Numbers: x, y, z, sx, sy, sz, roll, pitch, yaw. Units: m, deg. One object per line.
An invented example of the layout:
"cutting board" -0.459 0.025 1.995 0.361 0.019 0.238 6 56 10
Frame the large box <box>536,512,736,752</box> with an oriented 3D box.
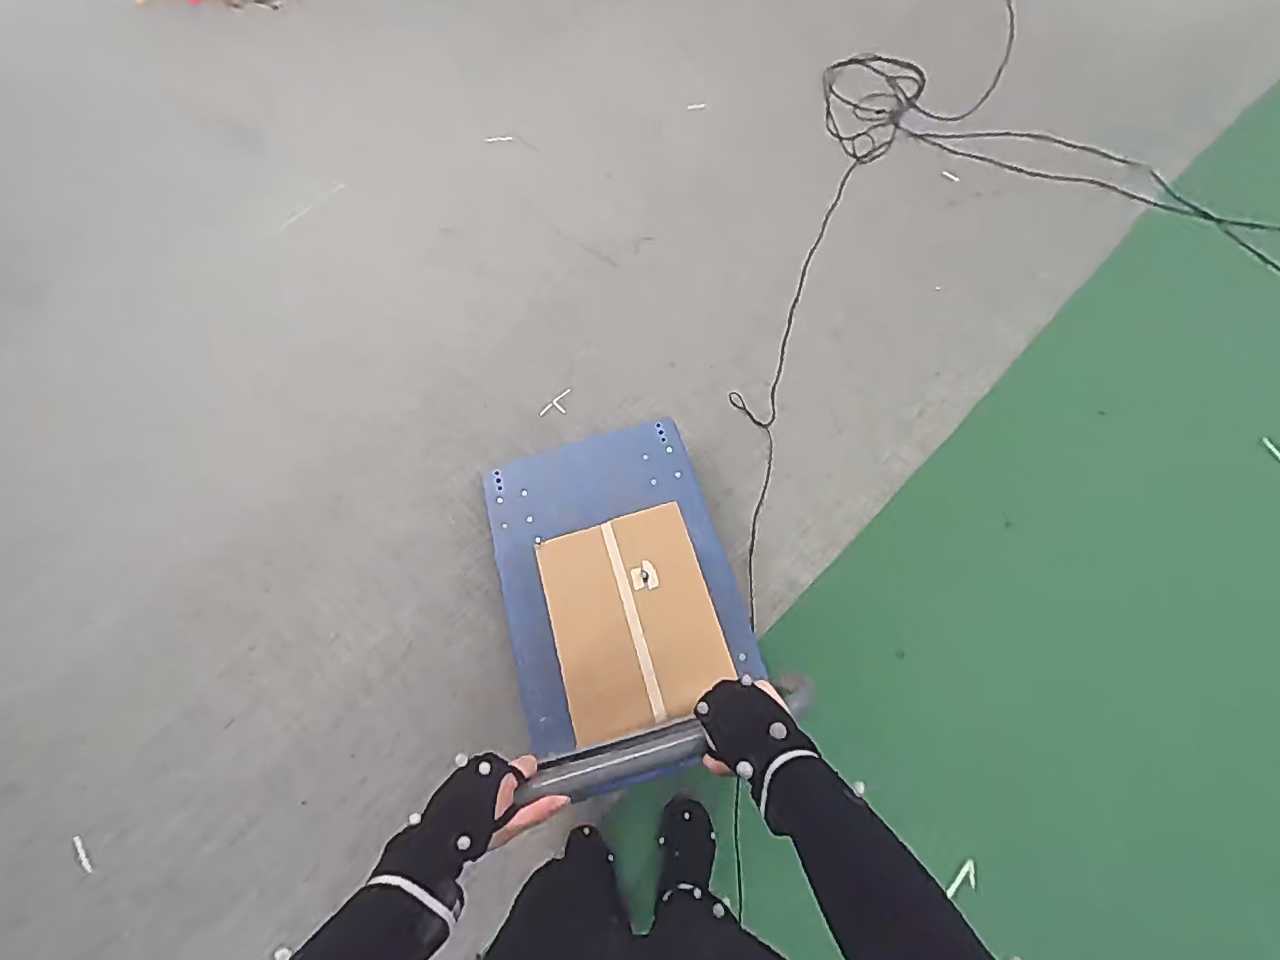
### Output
"large box" -0.005 0.343 1.201 0.320 0.320 0.408 -16 64 -2
